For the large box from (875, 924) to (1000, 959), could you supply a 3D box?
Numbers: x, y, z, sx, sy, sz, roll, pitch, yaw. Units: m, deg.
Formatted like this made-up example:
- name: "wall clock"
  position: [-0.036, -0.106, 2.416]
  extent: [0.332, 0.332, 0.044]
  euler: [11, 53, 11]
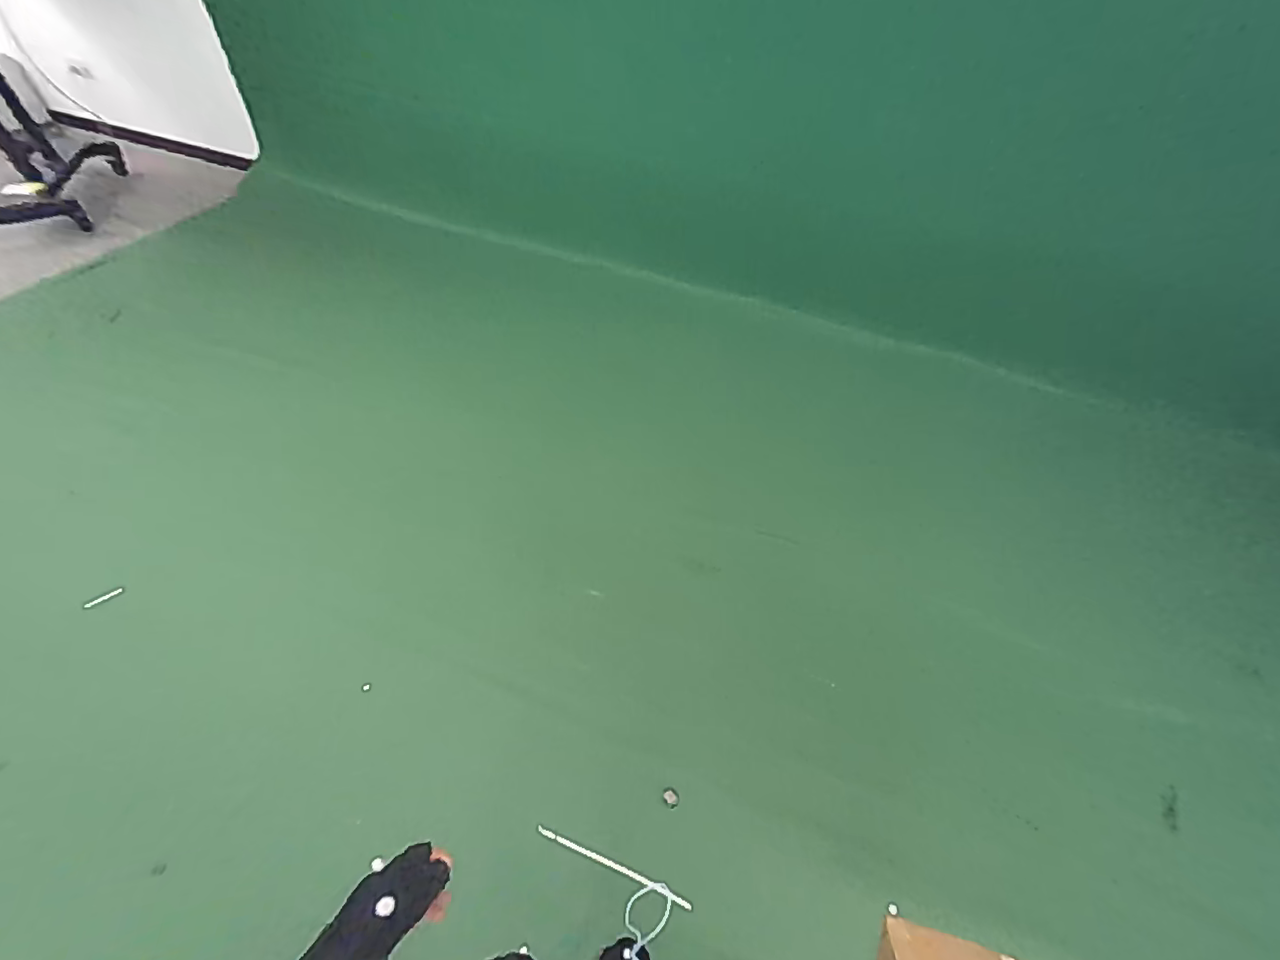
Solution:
- name: "large box"
  position: [0.422, 0.806, 0.553]
  extent: [0.320, 0.408, 0.320]
  euler: [12, 91, 13]
